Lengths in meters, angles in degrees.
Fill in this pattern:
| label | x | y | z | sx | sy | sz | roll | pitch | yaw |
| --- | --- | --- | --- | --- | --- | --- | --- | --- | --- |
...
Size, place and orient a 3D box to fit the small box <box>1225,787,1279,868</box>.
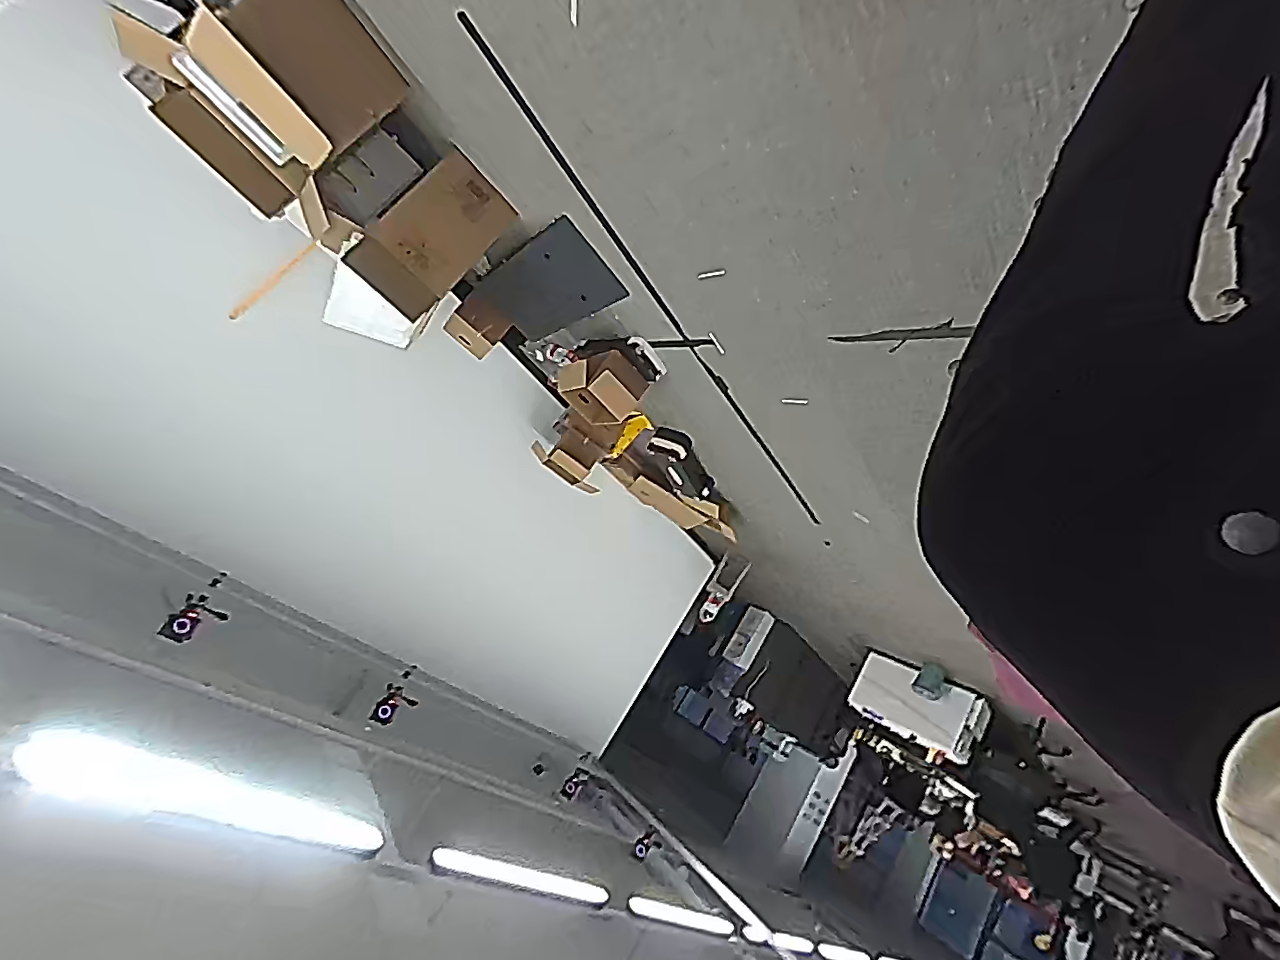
| label | x | y | z | sx | sy | sz | roll | pitch | yaw |
| --- | --- | --- | --- | --- | --- | --- | --- | --- | --- |
| small box | 2.026 | 1.123 | 1.730 | 0.168 | 0.176 | 0.179 | 17 | 157 | 48 |
